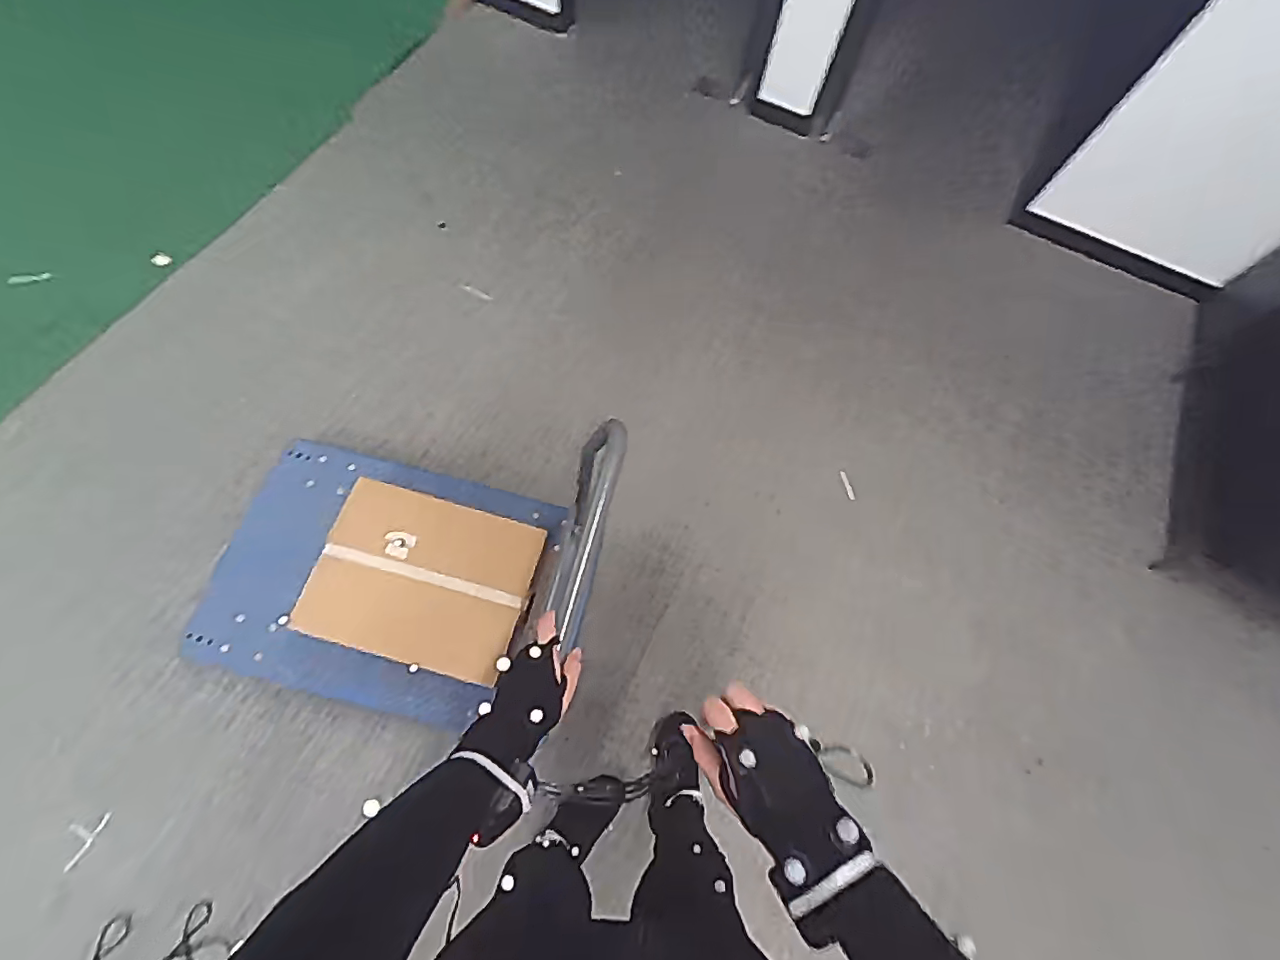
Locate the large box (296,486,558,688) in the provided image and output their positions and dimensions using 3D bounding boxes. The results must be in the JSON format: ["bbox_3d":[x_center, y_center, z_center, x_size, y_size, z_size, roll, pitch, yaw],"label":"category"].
[{"bbox_3d":[-0.422,0.251,1.193,0.408,0.320,0.320,16,68,2],"label":"large box"}]
